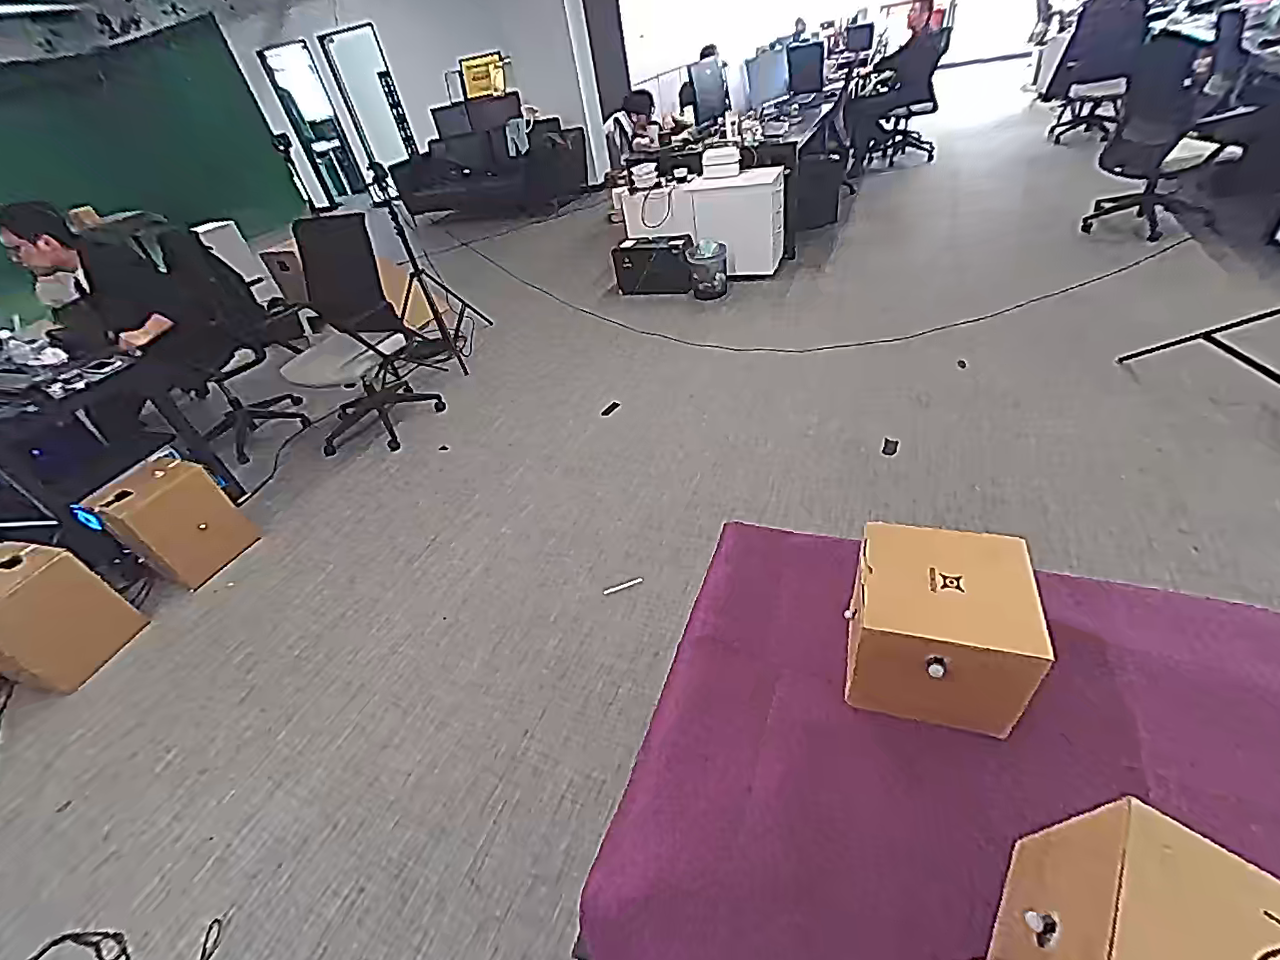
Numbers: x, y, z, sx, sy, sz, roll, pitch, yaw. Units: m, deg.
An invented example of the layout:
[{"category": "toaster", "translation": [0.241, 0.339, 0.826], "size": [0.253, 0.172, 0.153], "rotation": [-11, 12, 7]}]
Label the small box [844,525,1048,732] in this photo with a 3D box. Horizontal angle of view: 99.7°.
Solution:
[{"category": "small box", "translation": [0.352, 0.179, 0.657], "size": [0.179, 0.176, 0.168], "rotation": [6, 42, 20]}]
